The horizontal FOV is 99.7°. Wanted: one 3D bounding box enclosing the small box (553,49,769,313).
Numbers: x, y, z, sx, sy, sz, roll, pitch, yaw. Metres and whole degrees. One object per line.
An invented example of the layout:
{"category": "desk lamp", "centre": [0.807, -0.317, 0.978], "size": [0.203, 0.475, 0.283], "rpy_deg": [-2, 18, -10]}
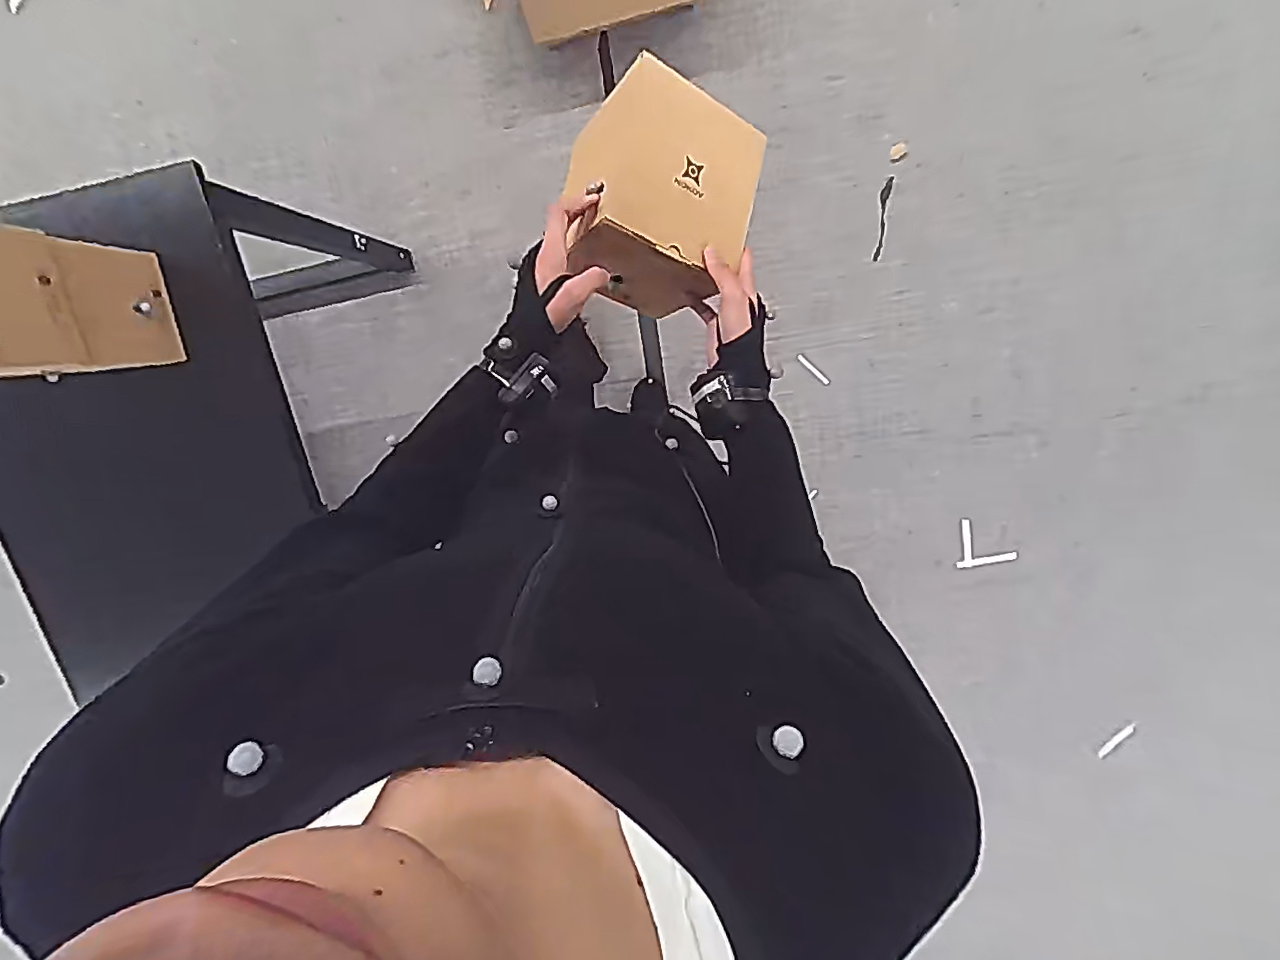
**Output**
{"category": "small box", "centre": [0.015, -0.316, 0.618], "size": [0.168, 0.176, 0.179], "rpy_deg": [15, 86, -29]}

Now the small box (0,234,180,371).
{"category": "small box", "centre": [-0.837, -0.247, 0.785], "size": [0.179, 0.176, 0.168], "rpy_deg": [-4, 105, 5]}
